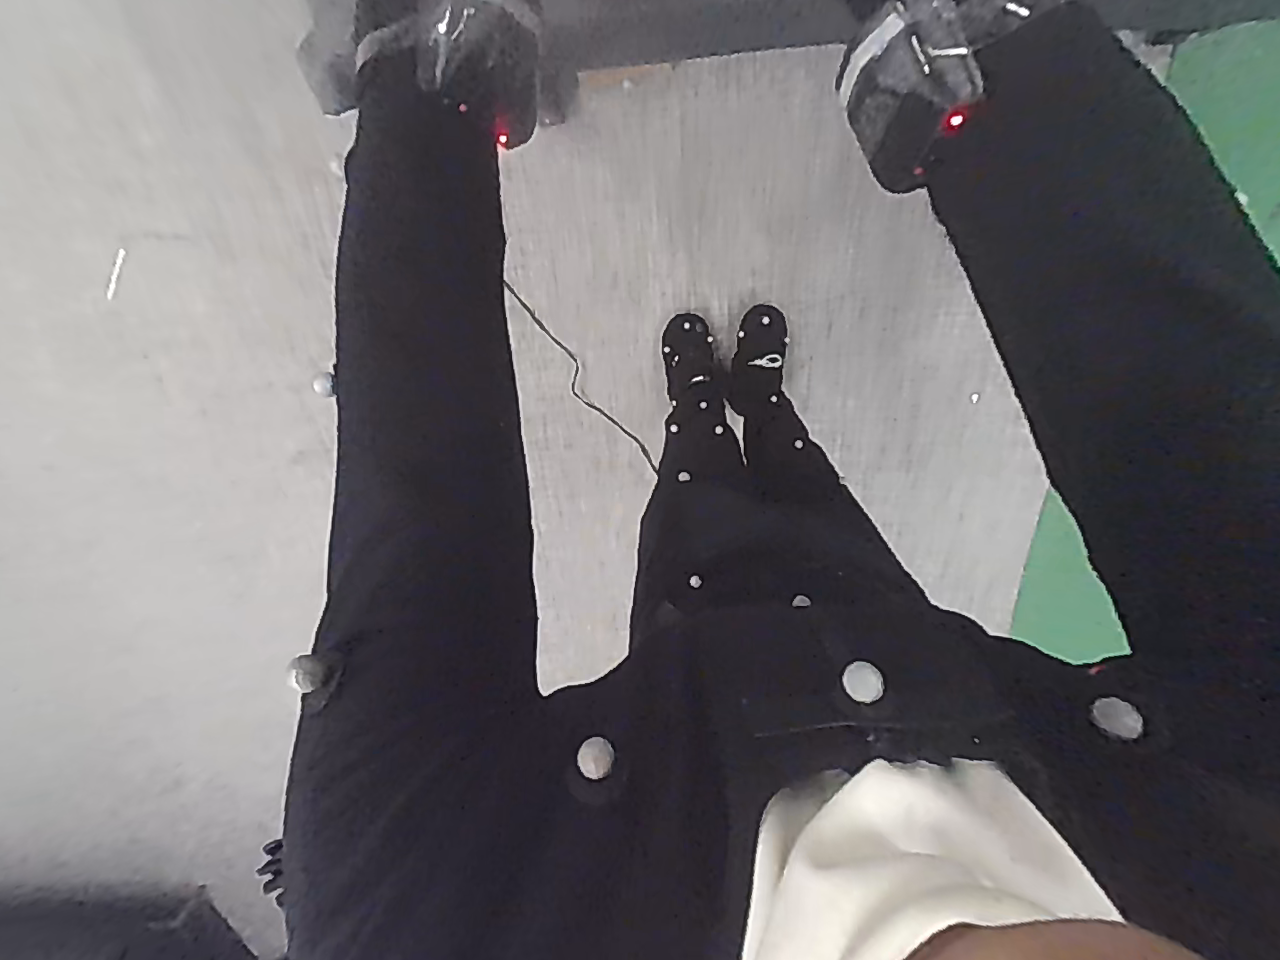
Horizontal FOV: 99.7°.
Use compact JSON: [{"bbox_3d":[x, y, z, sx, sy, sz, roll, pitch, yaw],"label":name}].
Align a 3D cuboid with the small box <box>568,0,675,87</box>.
[{"bbox_3d":[-0.031,-0.812,0.935,0.168,0.176,0.179,-6,118,7],"label":"small box"}]
